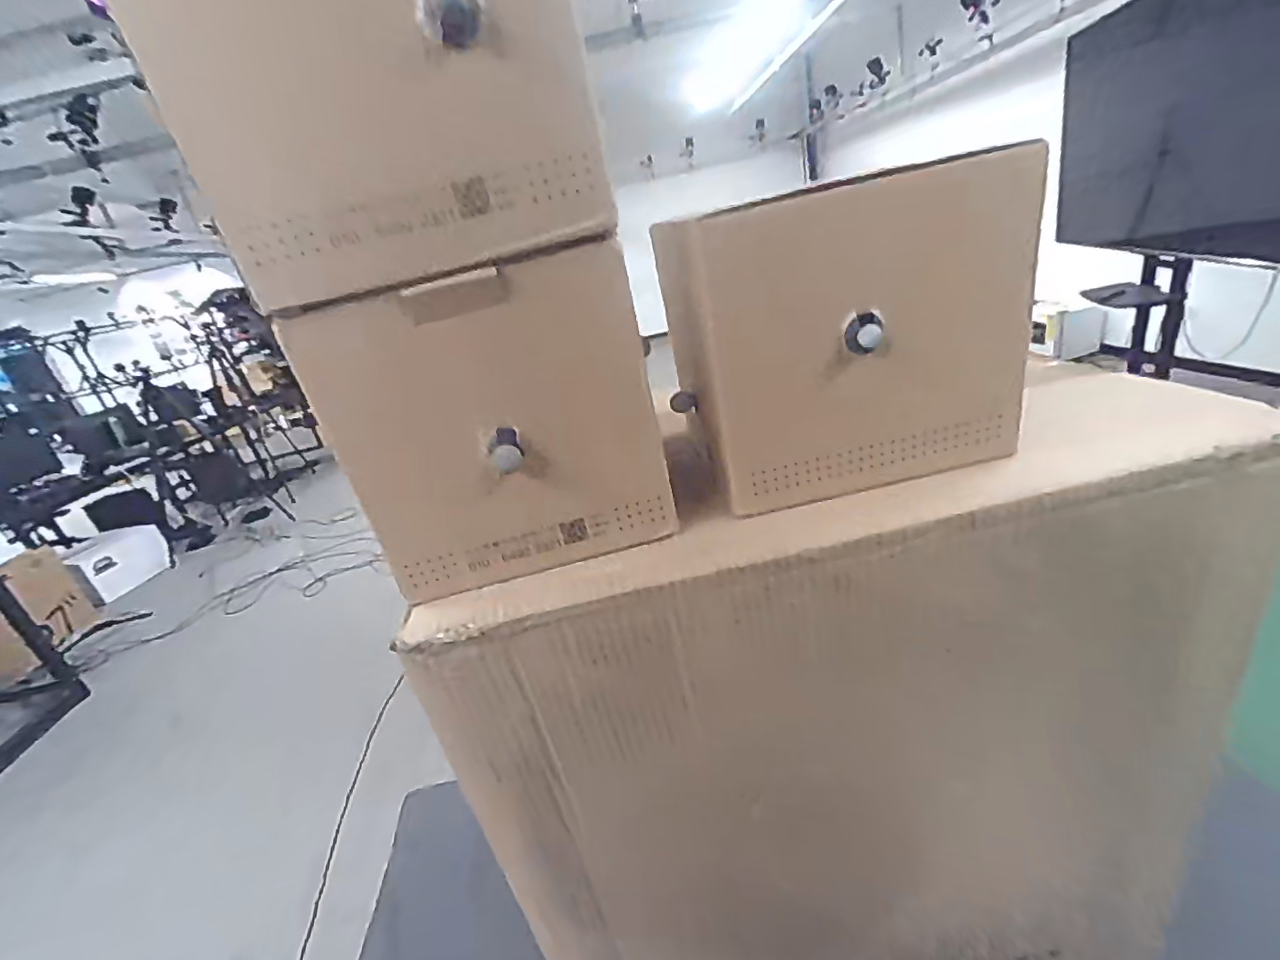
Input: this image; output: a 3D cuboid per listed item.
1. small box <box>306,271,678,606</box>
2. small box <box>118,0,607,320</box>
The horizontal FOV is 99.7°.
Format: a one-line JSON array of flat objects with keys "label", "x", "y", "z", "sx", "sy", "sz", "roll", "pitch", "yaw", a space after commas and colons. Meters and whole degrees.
[{"label": "small box", "x": -0.082, "y": -0.034, "z": 0.377, "sx": 0.168, "sy": 0.176, "sz": 0.179, "roll": -17, "pitch": 25, "yaw": -5}, {"label": "small box", "x": -0.120, "y": -0.192, "z": 0.297, "sx": 0.168, "sy": 0.176, "sz": 0.179, "roll": -14, "pitch": 24, "yaw": -4}]
